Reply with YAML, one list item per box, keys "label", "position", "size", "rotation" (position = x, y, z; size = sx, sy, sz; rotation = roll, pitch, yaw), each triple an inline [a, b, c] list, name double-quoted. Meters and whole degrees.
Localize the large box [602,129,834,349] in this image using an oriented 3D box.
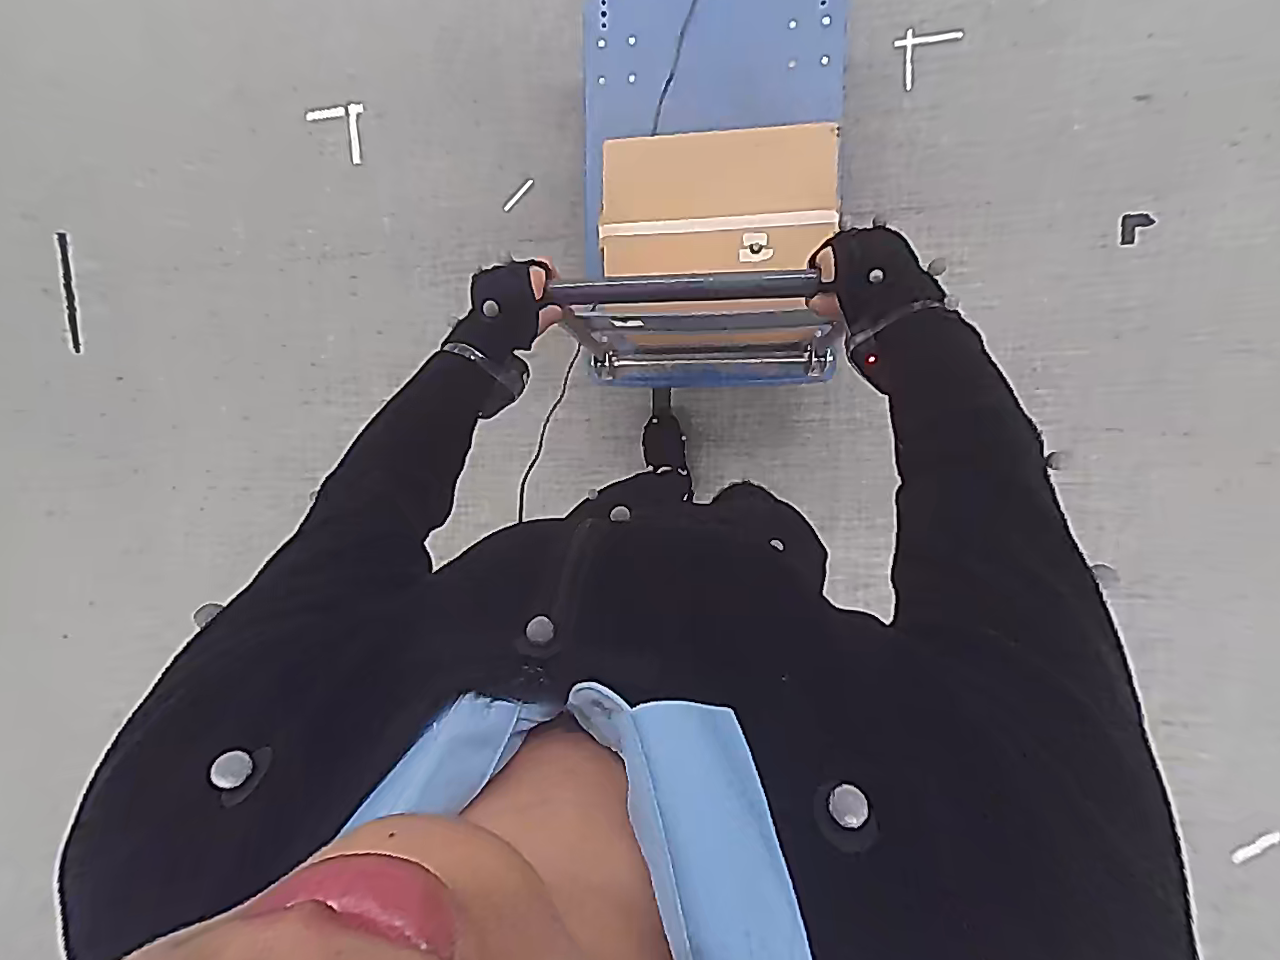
- label: "large box"
  position: [0.147, -0.451, 1.092]
  size: [0.408, 0.320, 0.320]
  rotation: [0, 95, 6]
